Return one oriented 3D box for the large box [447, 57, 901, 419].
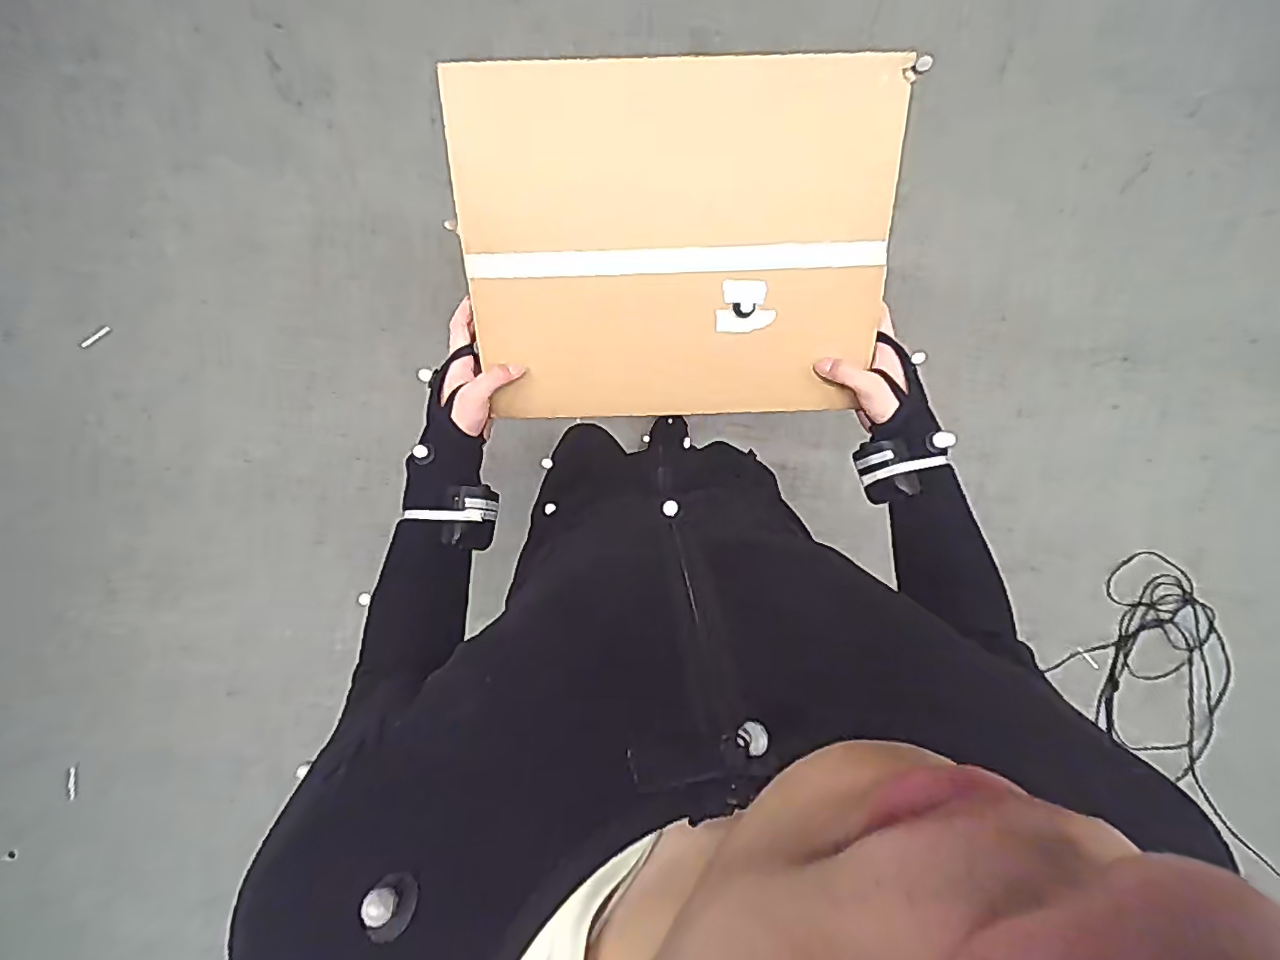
[{"bbox_3d":[0.030,-0.276,0.663,0.408,0.320,0.320,-3,115,-1],"label":"large box"}]
